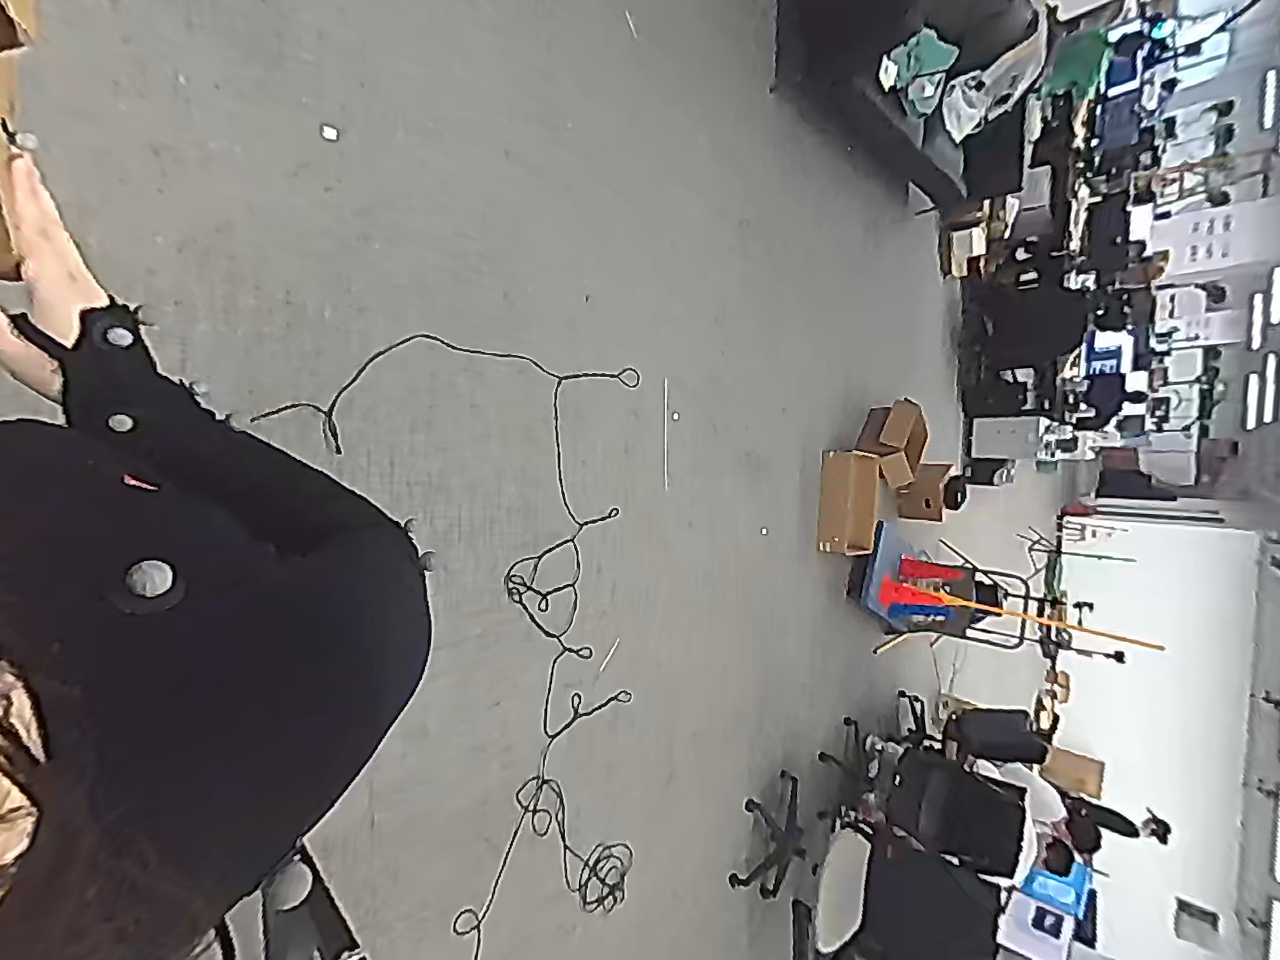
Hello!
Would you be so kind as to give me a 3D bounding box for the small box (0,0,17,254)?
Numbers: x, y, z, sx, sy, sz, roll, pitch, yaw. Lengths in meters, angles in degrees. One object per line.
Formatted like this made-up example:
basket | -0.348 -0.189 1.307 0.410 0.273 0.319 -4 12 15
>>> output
small box | -0.409 -0.216 0.231 0.179 0.176 0.168 -3 87 -47
